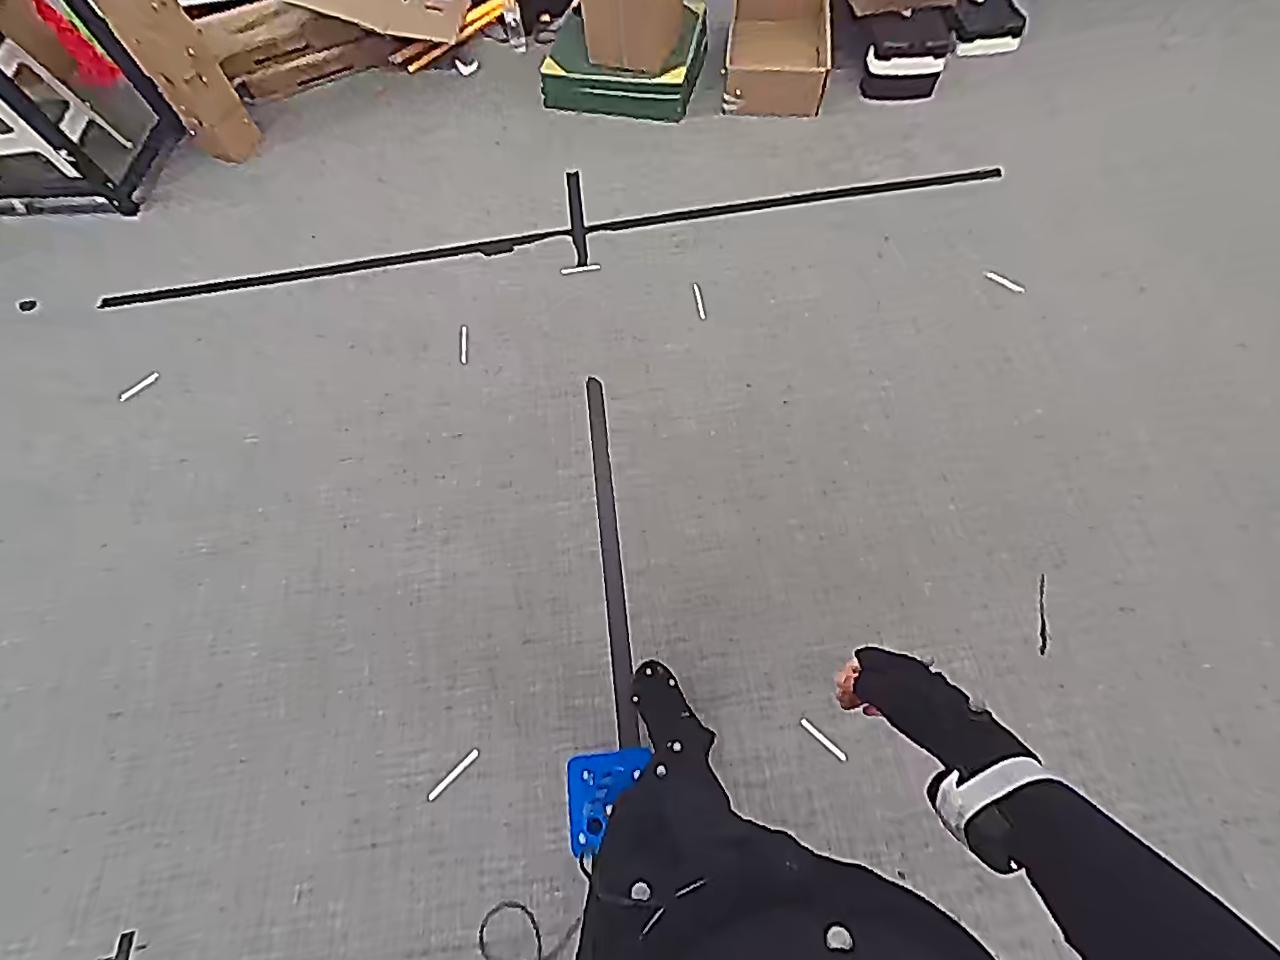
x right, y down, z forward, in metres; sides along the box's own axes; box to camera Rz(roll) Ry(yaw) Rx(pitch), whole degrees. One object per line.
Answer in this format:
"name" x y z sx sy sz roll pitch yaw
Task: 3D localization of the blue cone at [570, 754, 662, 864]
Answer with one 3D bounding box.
"blue cone" -0.063 0.649 1.034 0.193 0.380 0.192 -9 65 0
